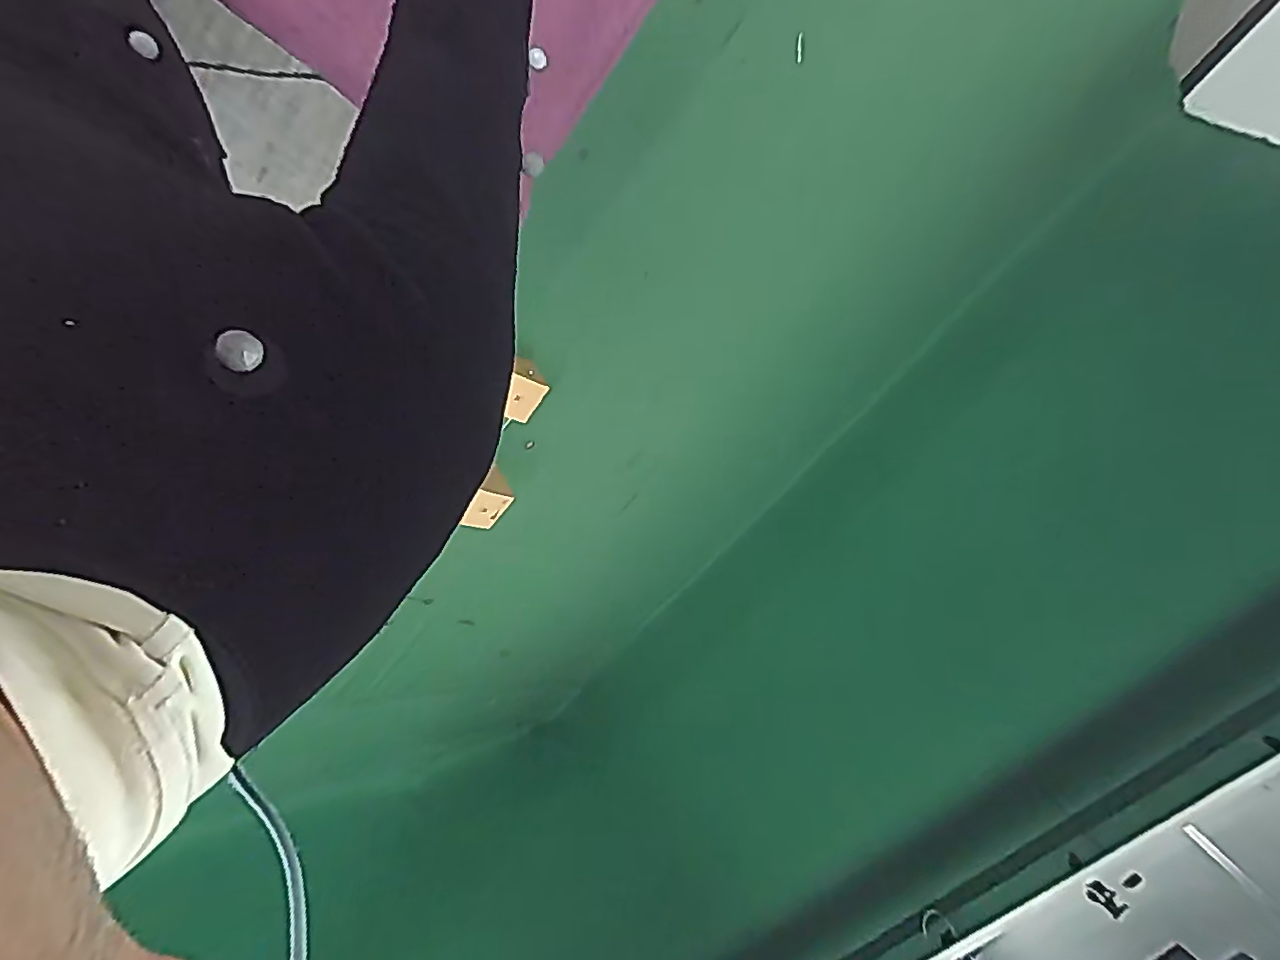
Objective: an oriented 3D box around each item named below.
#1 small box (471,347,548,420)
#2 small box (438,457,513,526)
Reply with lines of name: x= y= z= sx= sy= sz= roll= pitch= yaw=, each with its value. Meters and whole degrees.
small box: x=-0.465 y=-0.342 z=1.906 sx=0.168 sy=0.176 sz=0.179 roll=-50 pitch=147 yaw=18
small box: x=-0.597 y=0.040 z=1.947 sx=0.168 sy=0.176 sz=0.179 roll=-47 pitch=145 yaw=15
